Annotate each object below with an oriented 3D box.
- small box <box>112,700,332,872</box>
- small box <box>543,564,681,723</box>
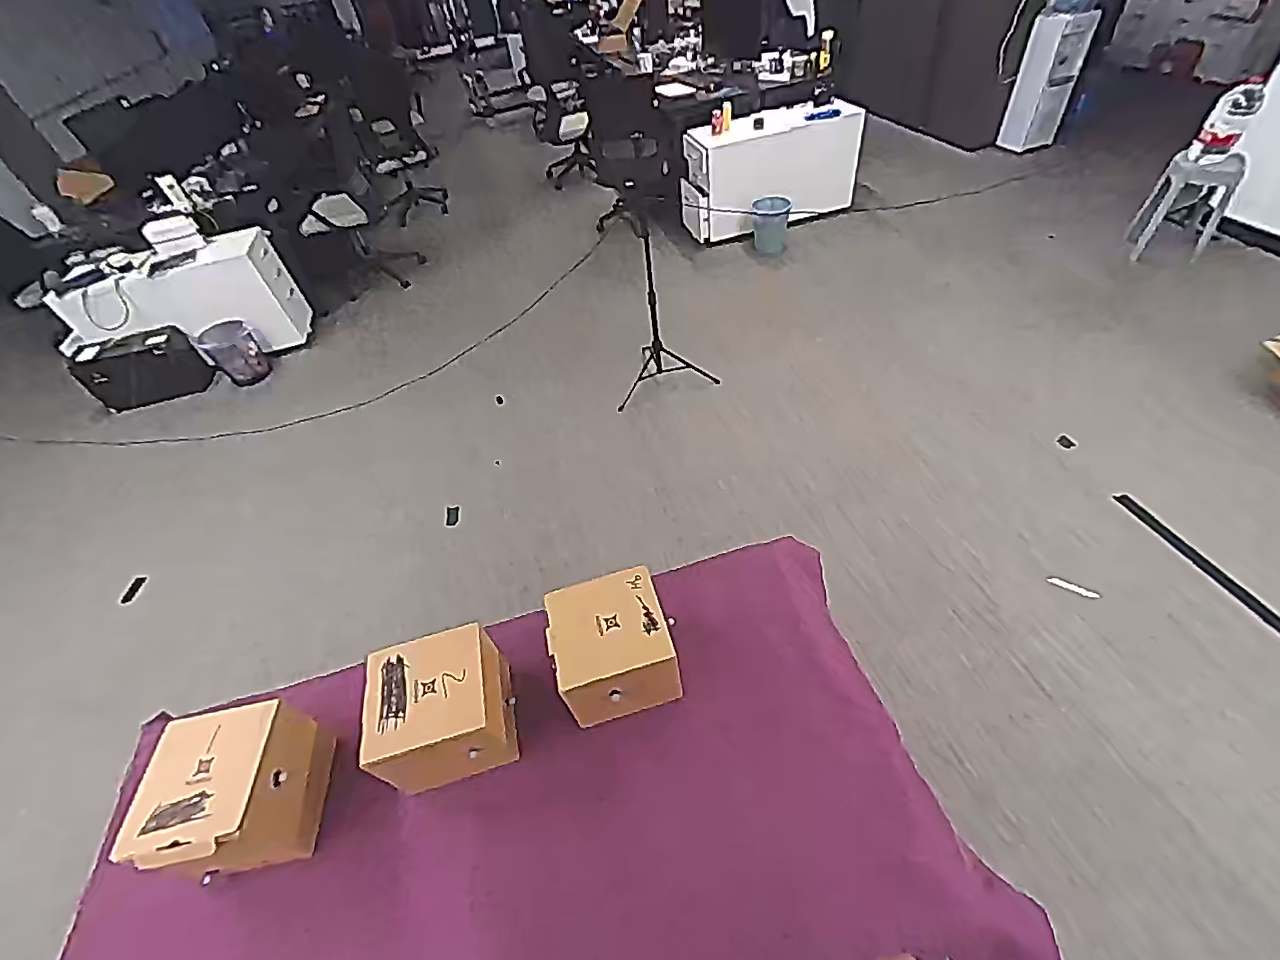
[{"bbox_3d":[-0.585,0.452,0.791,0.168,0.176,0.179,-11,47,-2],"label":"small box"},{"bbox_3d":[-0.042,0.267,0.871,0.179,0.176,0.168,-16,49,-4],"label":"small box"}]
